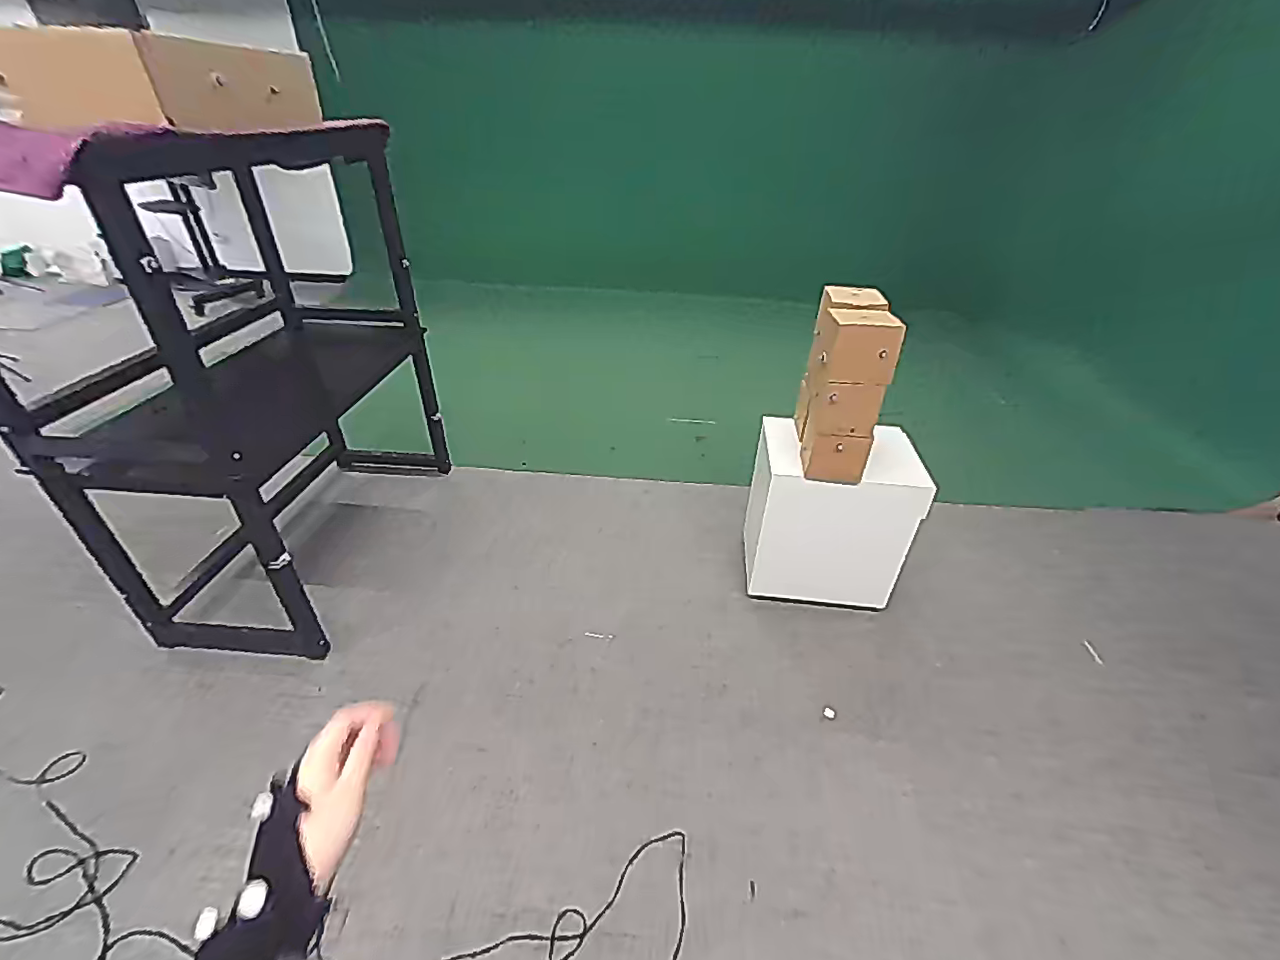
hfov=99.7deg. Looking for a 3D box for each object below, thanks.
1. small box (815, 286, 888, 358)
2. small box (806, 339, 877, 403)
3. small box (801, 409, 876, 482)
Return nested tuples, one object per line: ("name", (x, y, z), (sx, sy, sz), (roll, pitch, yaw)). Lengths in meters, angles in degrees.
("small box", (0.664, -0.501, 1.716), (0.168, 0.176, 0.179), (6, 37, 6))
("small box", (0.669, -0.369, 1.814), (0.179, 0.176, 0.168), (6, 36, 6))
("small box", (0.626, -0.108, 1.725), (0.179, 0.176, 0.168), (6, 34, 6))
